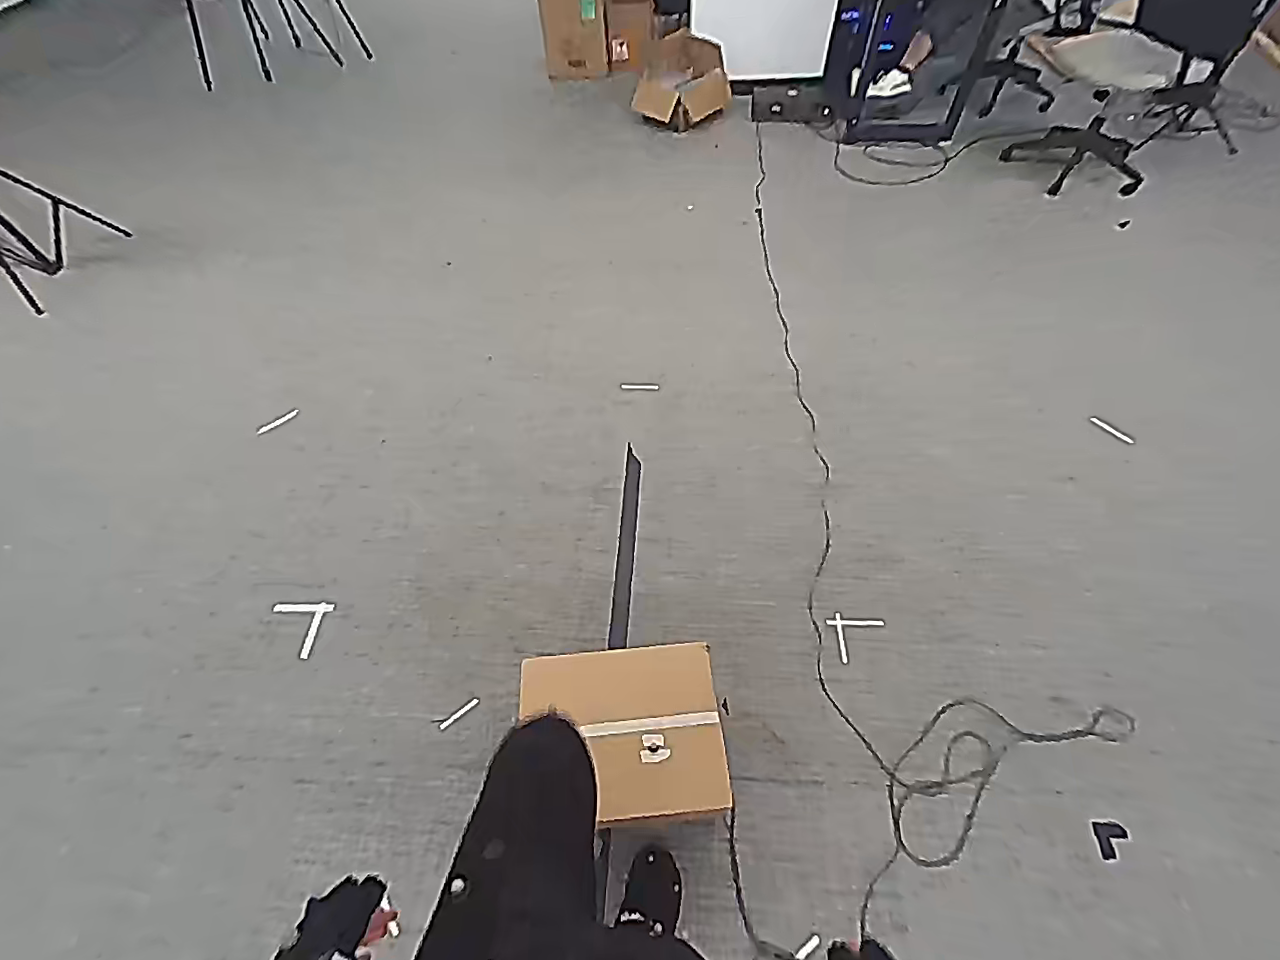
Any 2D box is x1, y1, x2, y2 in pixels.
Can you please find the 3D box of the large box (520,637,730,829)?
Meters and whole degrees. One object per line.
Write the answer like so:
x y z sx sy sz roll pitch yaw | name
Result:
-0.037 0.572 1.210 0.408 0.320 0.320 -4 55 -1 | large box
